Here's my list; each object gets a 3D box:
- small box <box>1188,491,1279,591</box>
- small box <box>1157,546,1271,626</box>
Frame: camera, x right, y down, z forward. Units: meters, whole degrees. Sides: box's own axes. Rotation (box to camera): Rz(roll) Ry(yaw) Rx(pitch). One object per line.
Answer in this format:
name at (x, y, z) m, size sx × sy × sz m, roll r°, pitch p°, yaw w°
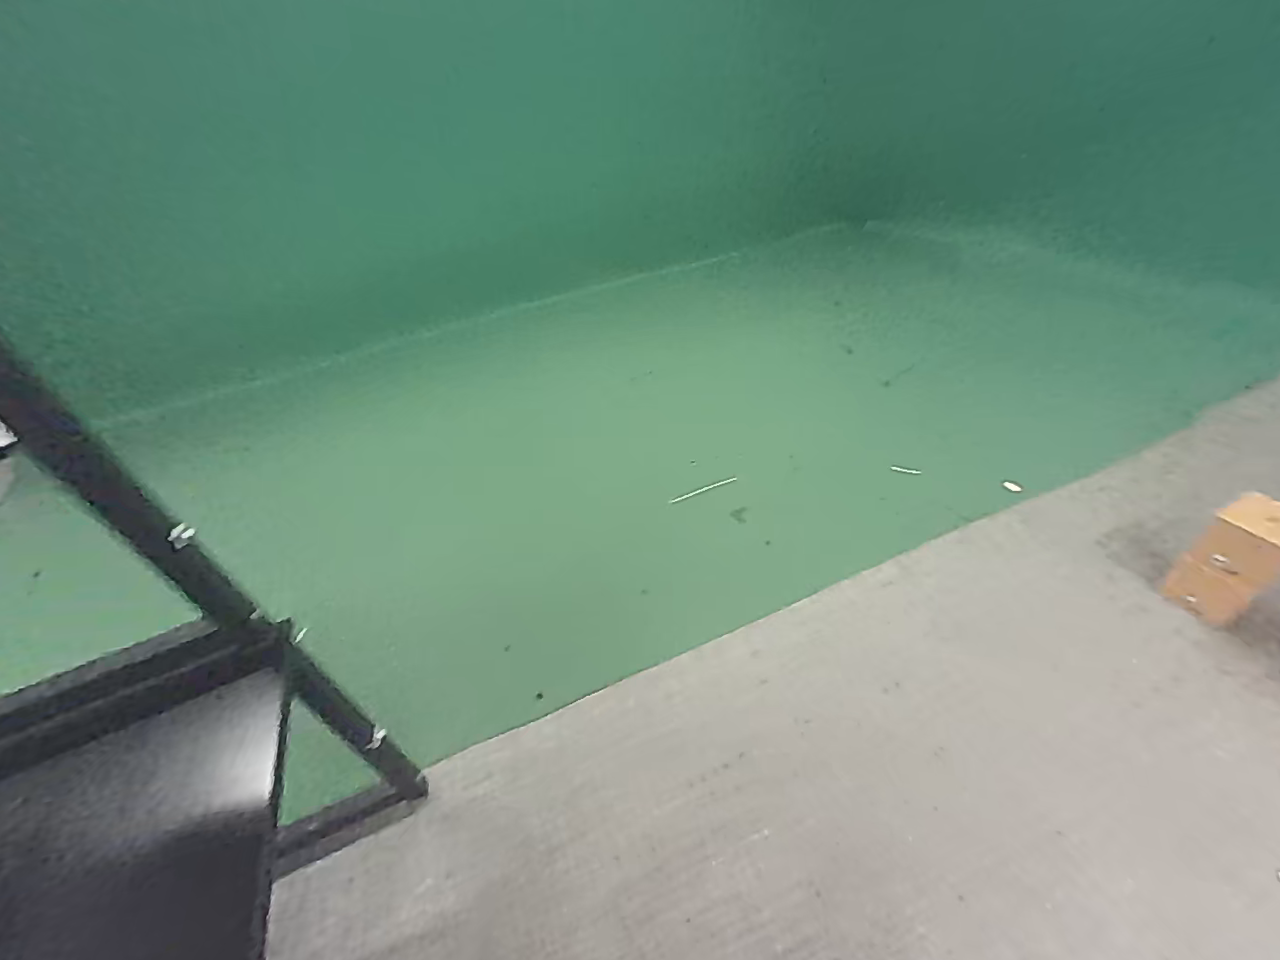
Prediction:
small box at (1.657, 0.165, 1.461) m, size 0.179 × 0.176 × 0.168 m, roll -23°, pitch 40°, yaw -15°
small box at (1.670, 0.286, 1.568) m, size 0.179 × 0.176 × 0.168 m, roll -23°, pitch 42°, yaw -16°
